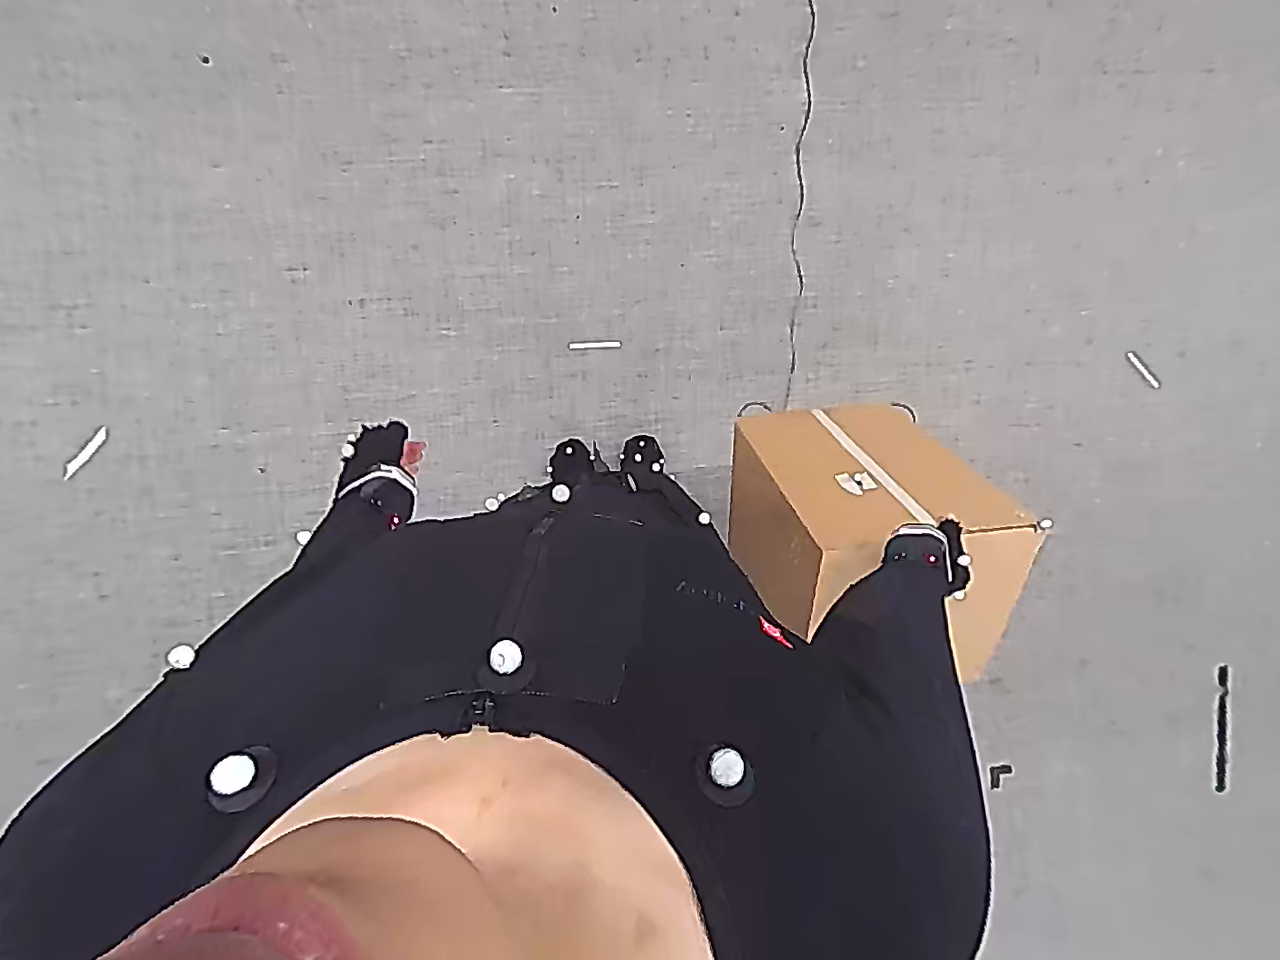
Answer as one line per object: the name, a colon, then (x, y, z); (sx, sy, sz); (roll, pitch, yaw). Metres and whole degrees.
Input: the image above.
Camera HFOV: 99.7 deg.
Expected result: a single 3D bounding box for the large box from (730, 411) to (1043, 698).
large box: (0.372, 0.107, 0.960); (0.320, 0.408, 0.320); (-6, 122, -5)
